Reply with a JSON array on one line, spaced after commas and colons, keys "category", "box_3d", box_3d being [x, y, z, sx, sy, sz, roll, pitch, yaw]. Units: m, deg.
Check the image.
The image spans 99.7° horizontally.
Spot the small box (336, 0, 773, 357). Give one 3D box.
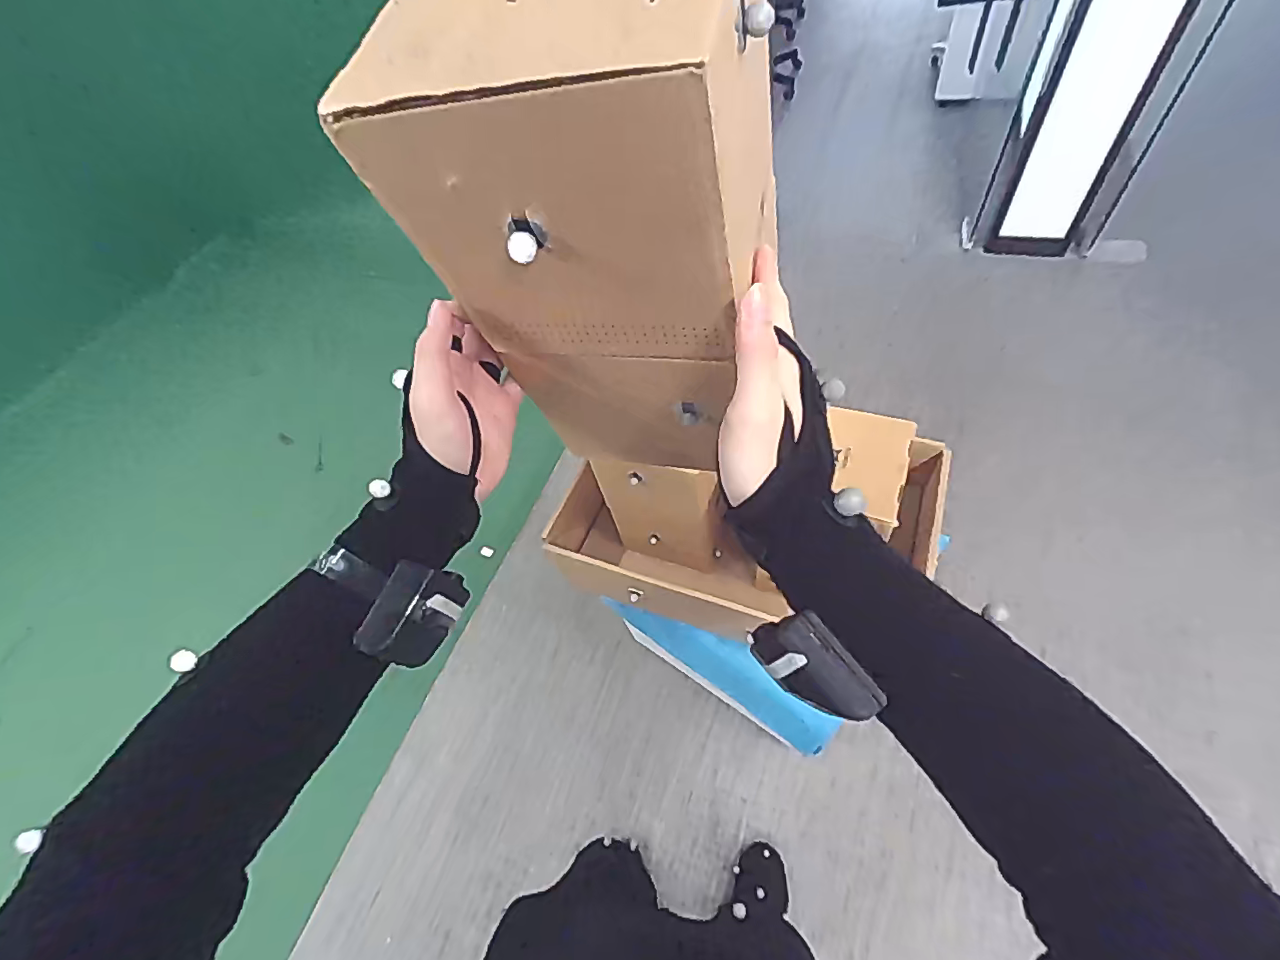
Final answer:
[{"category": "small box", "box_3d": [-0.022, -0.188, 0.319, 0.179, 0.176, 0.168, 5, 67, 18]}]

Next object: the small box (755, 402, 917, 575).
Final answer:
[{"category": "small box", "box_3d": [0.274, 0.016, 0.779, 0.179, 0.176, 0.168, 15, 61, 21]}]

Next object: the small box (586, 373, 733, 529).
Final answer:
[{"category": "small box", "box_3d": [0.041, -0.042, 0.863, 0.179, 0.176, 0.168, 15, 60, 19]}]
